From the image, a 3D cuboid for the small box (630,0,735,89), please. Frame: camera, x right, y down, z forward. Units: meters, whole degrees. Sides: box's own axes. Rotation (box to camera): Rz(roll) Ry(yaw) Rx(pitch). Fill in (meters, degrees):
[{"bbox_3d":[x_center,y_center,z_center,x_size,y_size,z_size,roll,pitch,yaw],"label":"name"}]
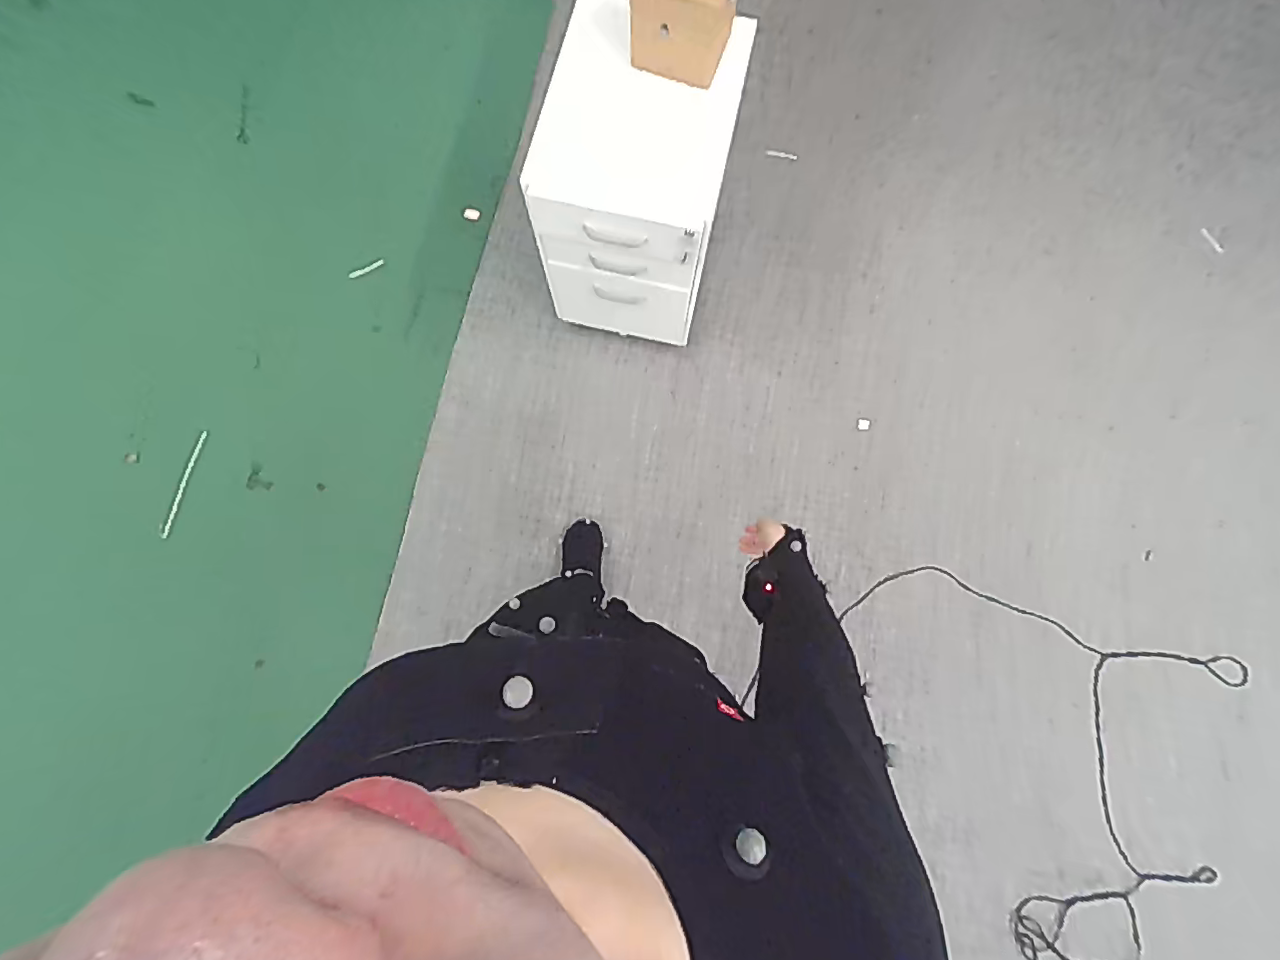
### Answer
[{"bbox_3d":[0.084,-0.926,1.071,0.179,0.176,0.168,20,79,4],"label":"small box"}]
